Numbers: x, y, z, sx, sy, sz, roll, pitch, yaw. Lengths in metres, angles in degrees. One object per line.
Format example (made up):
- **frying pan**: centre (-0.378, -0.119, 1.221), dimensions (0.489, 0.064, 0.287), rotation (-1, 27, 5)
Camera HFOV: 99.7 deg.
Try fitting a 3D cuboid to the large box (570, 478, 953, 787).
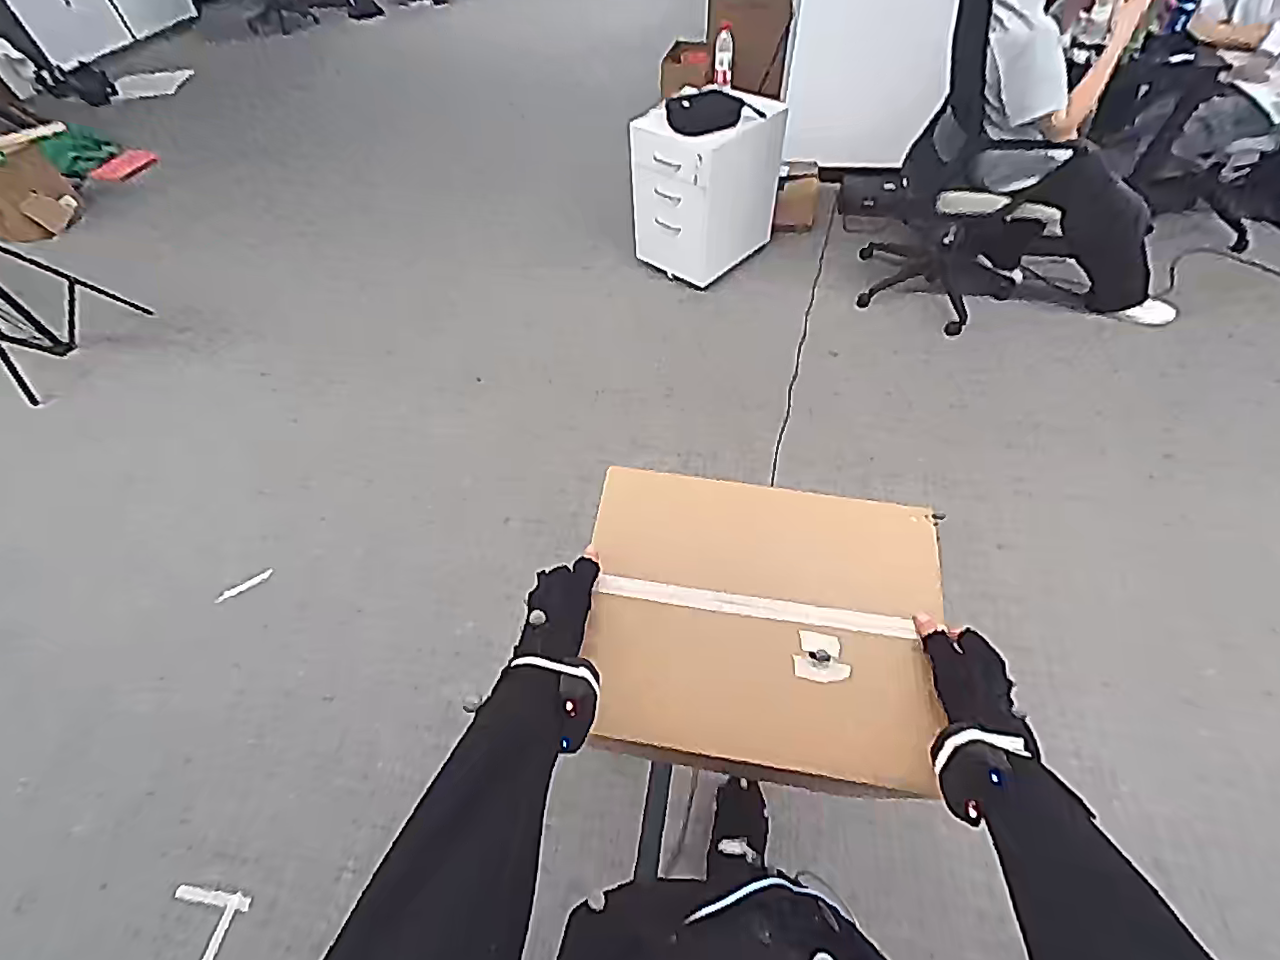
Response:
- **large box**: centre (0.139, 0.224, 0.756), dimensions (0.408, 0.320, 0.320), rotation (8, 61, 5)
